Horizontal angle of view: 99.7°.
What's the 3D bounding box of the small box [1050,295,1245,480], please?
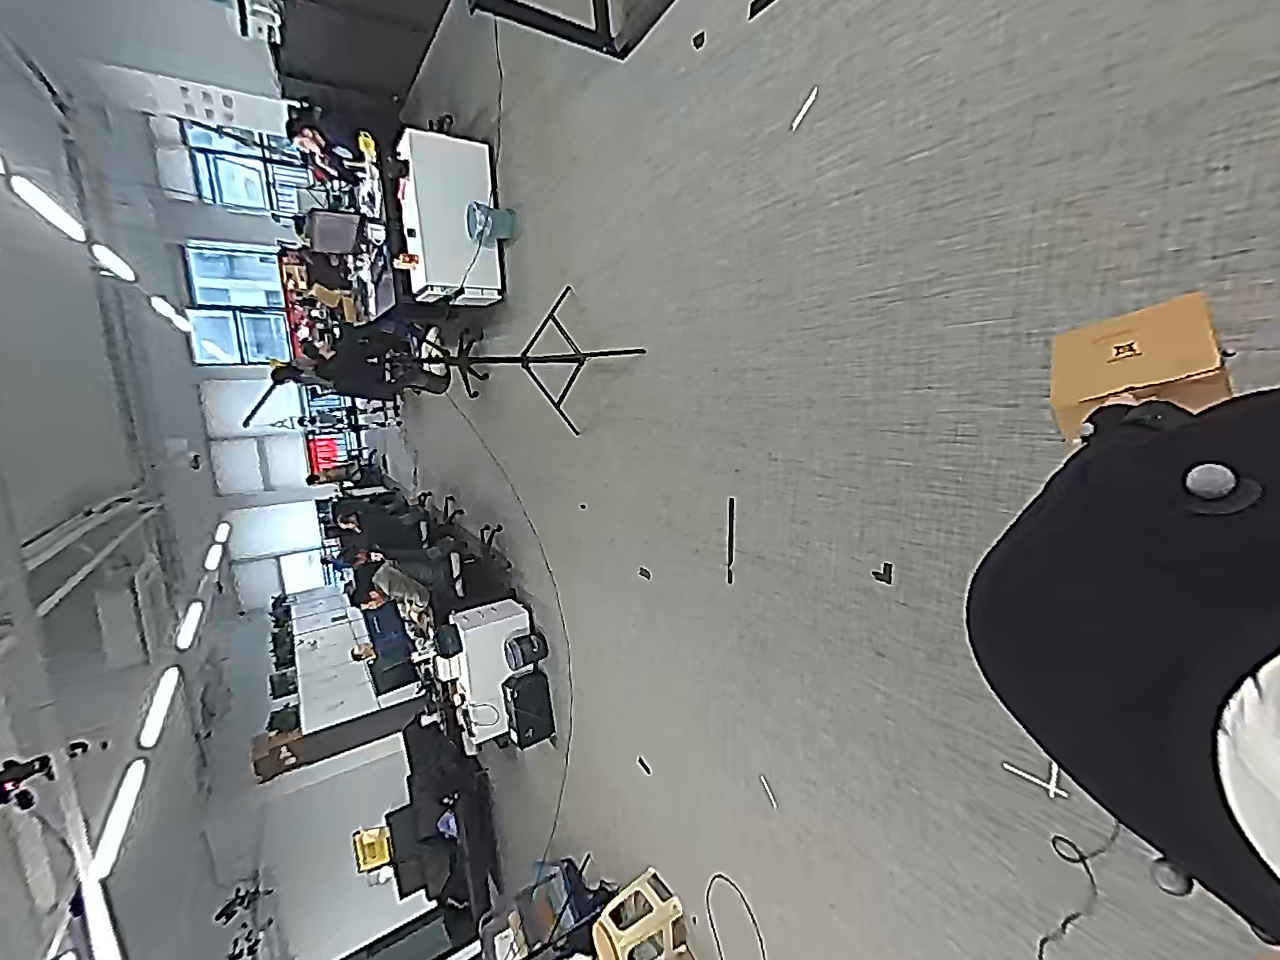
[{"bbox_3d":[0.702,-0.115,0.757,0.168,0.179,0.176,-15,125,48],"label":"small box"}]
